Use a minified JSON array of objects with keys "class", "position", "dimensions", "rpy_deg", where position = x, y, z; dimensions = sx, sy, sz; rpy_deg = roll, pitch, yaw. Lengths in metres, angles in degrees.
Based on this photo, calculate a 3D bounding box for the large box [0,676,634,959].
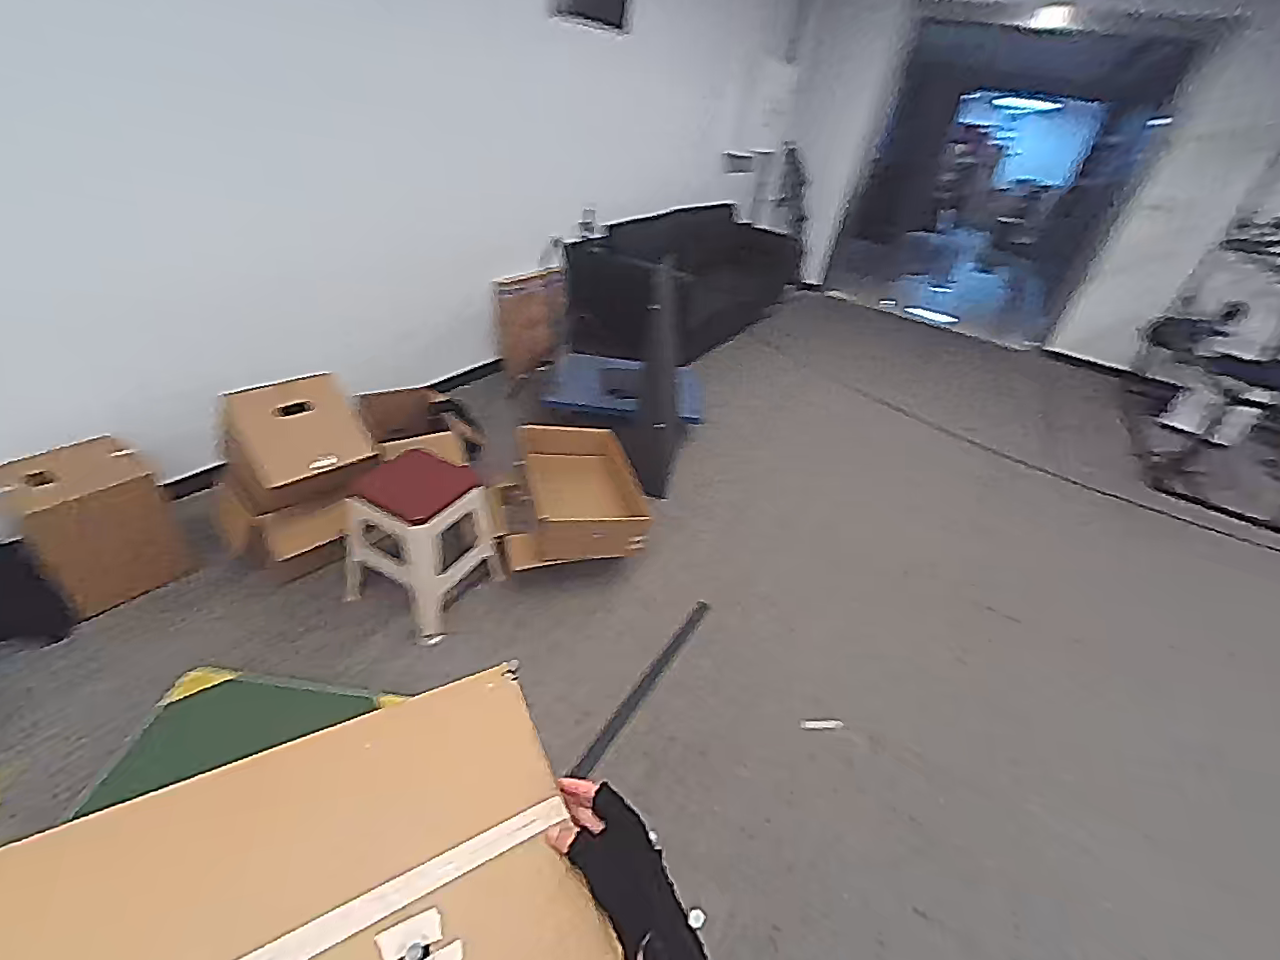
[{"class":"large box","position":[-0.259,0.460,0.500],"dimensions":[0.408,0.320,0.320],"rpy_deg":[-12,47,-28]}]
